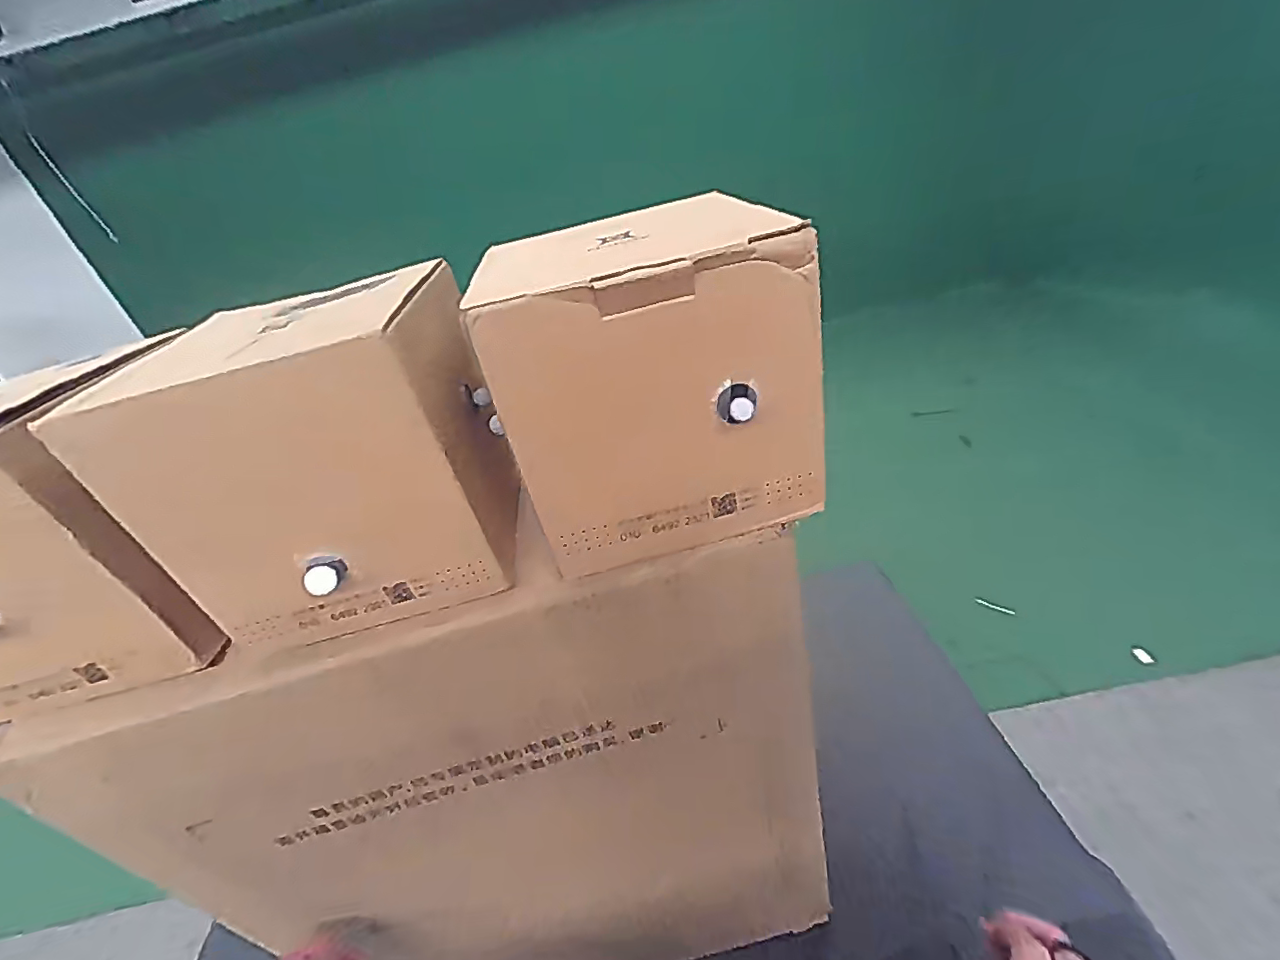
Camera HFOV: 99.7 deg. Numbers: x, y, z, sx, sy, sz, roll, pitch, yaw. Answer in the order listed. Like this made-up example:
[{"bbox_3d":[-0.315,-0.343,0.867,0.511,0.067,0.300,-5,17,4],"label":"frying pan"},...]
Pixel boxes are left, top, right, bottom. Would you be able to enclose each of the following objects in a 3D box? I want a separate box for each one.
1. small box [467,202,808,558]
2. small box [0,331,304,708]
[{"bbox_3d":[0.002,-0.067,0.357,0.168,0.176,0.179,-13,32,-3],"label":"small box"},{"bbox_3d":[-0.369,0.026,0.362,0.168,0.176,0.179,-16,33,1],"label":"small box"}]
